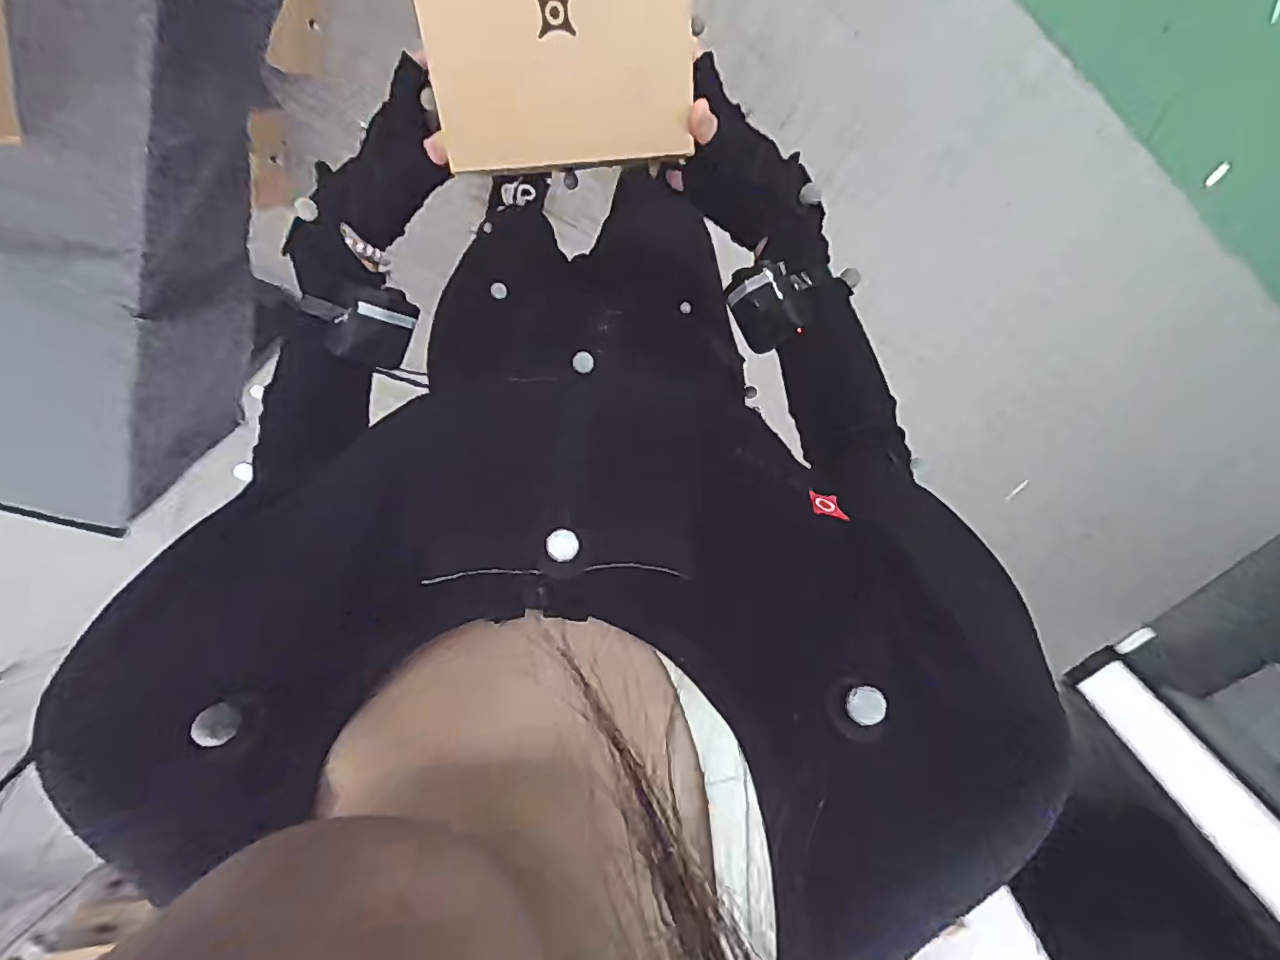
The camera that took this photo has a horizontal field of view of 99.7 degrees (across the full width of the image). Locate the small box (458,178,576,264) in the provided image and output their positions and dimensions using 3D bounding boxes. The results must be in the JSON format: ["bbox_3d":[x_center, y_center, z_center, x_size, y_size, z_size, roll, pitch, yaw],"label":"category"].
[{"bbox_3d":[-0.266,-0.593,1.174,0.168,0.176,0.179,-24,110,20],"label":"small box"}]

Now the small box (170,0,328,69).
[{"bbox_3d":[-0.640,-0.831,0.902,0.168,0.176,0.179,19,123,-22],"label":"small box"}]

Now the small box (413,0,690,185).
[{"bbox_3d":[-0.057,-0.320,0.390,0.168,0.176,0.179,-6,119,-2],"label":"small box"}]
